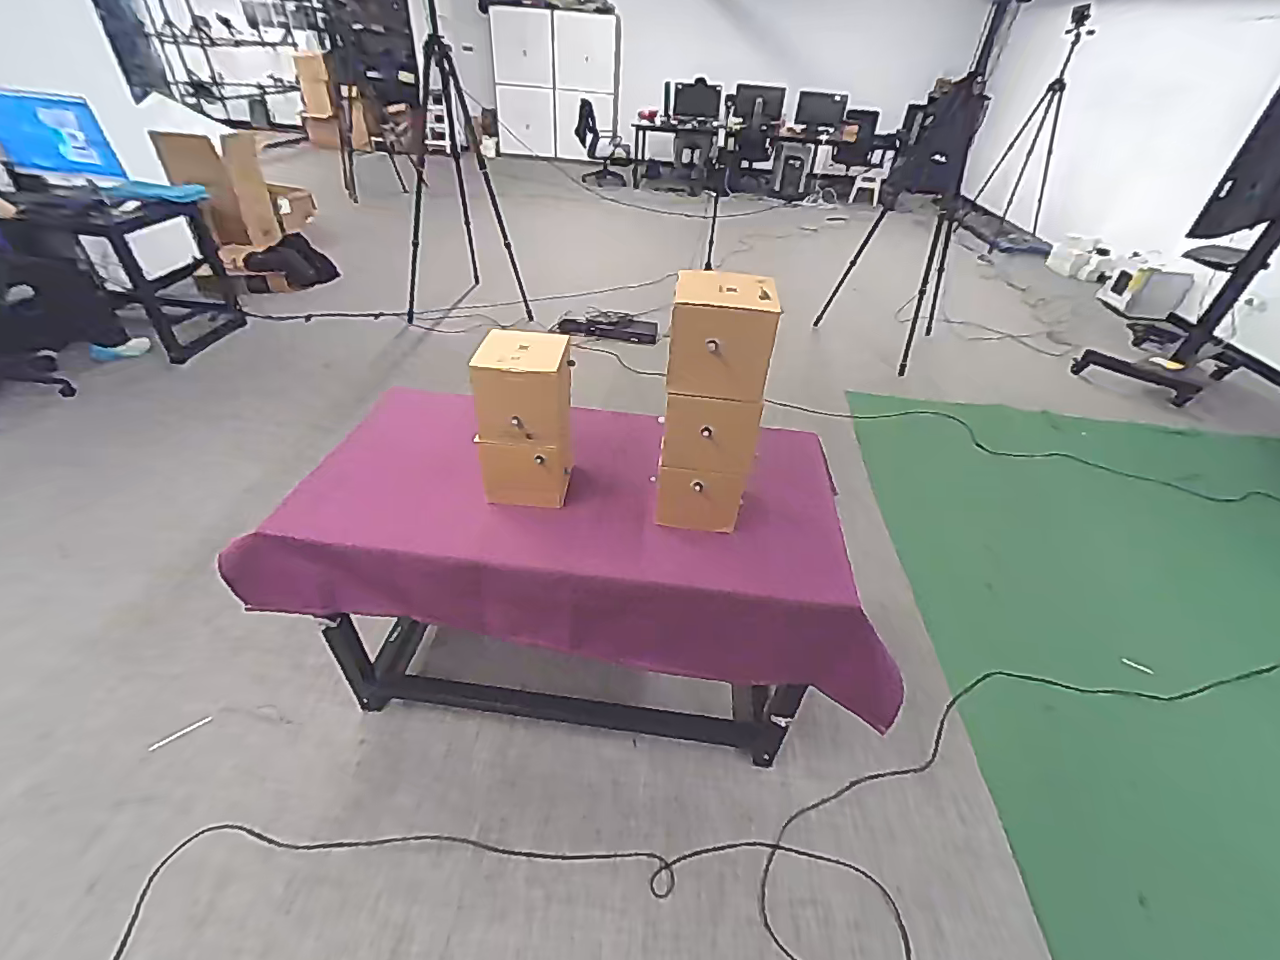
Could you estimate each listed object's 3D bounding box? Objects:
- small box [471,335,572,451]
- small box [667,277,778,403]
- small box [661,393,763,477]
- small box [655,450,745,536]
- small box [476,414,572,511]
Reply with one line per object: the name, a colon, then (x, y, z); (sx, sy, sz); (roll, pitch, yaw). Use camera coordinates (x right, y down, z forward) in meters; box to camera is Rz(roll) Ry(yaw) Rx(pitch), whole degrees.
small box: (-0.236, -0.181, 1.119); (0.168, 0.176, 0.179); (4, 38, 0)
small box: (0.142, -0.252, 0.975); (0.179, 0.176, 0.168); (6, 39, 4)
small box: (0.141, -0.123, 1.077); (0.179, 0.176, 0.168); (6, 39, 4)
small box: (0.128, 0.004, 1.180); (0.179, 0.176, 0.168); (7, 39, 3)
small box: (-0.251, -0.046, 1.213); (0.179, 0.176, 0.168); (5, 38, -1)
